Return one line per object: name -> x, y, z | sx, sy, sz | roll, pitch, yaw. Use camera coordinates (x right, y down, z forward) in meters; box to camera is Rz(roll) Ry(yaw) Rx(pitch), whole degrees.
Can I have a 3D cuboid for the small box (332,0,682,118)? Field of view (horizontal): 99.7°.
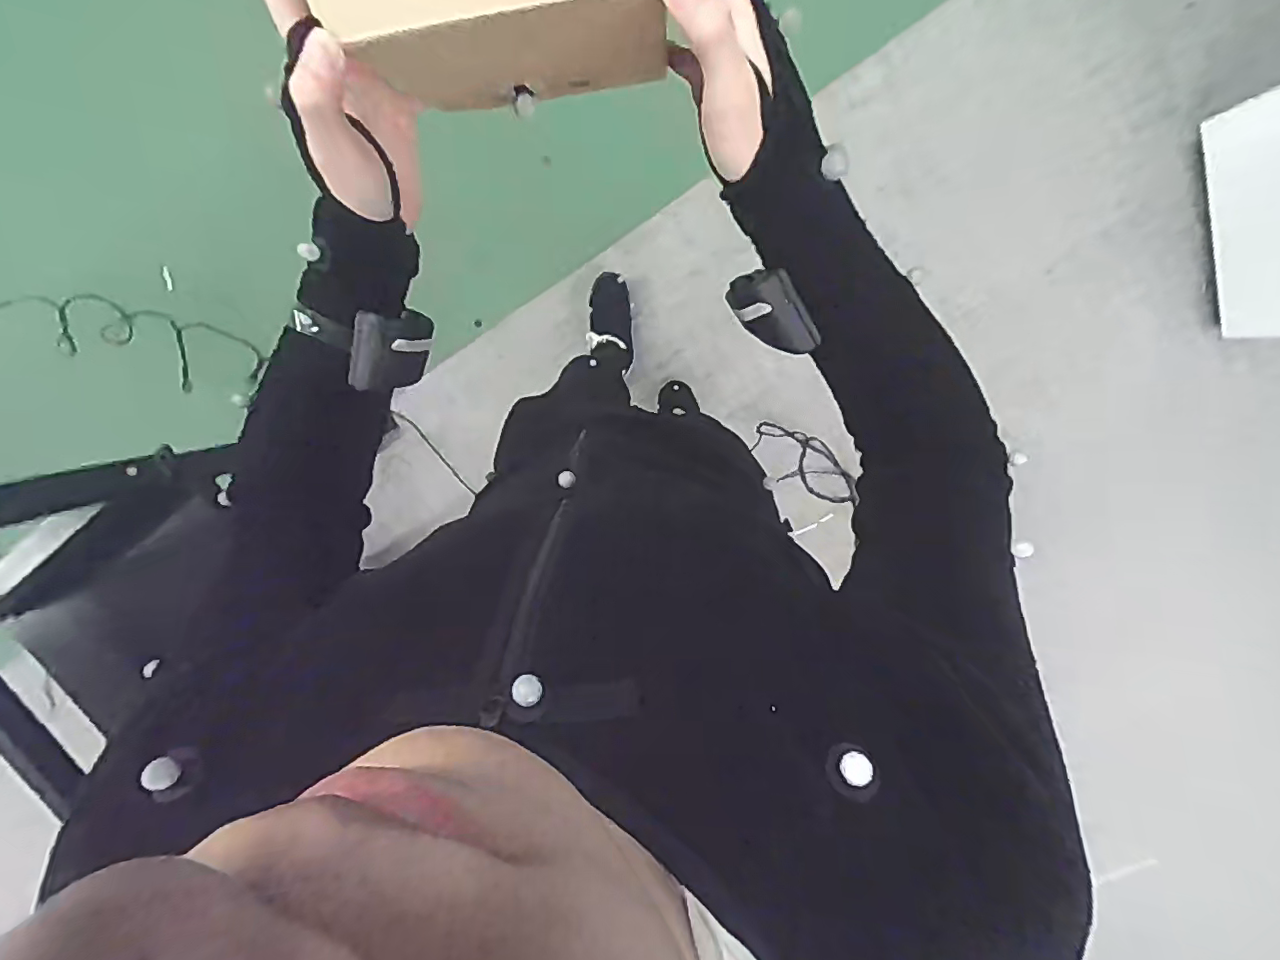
small box -> -0.068, -0.326, 0.295 | 0.168, 0.176, 0.179 | -5, 114, 5
